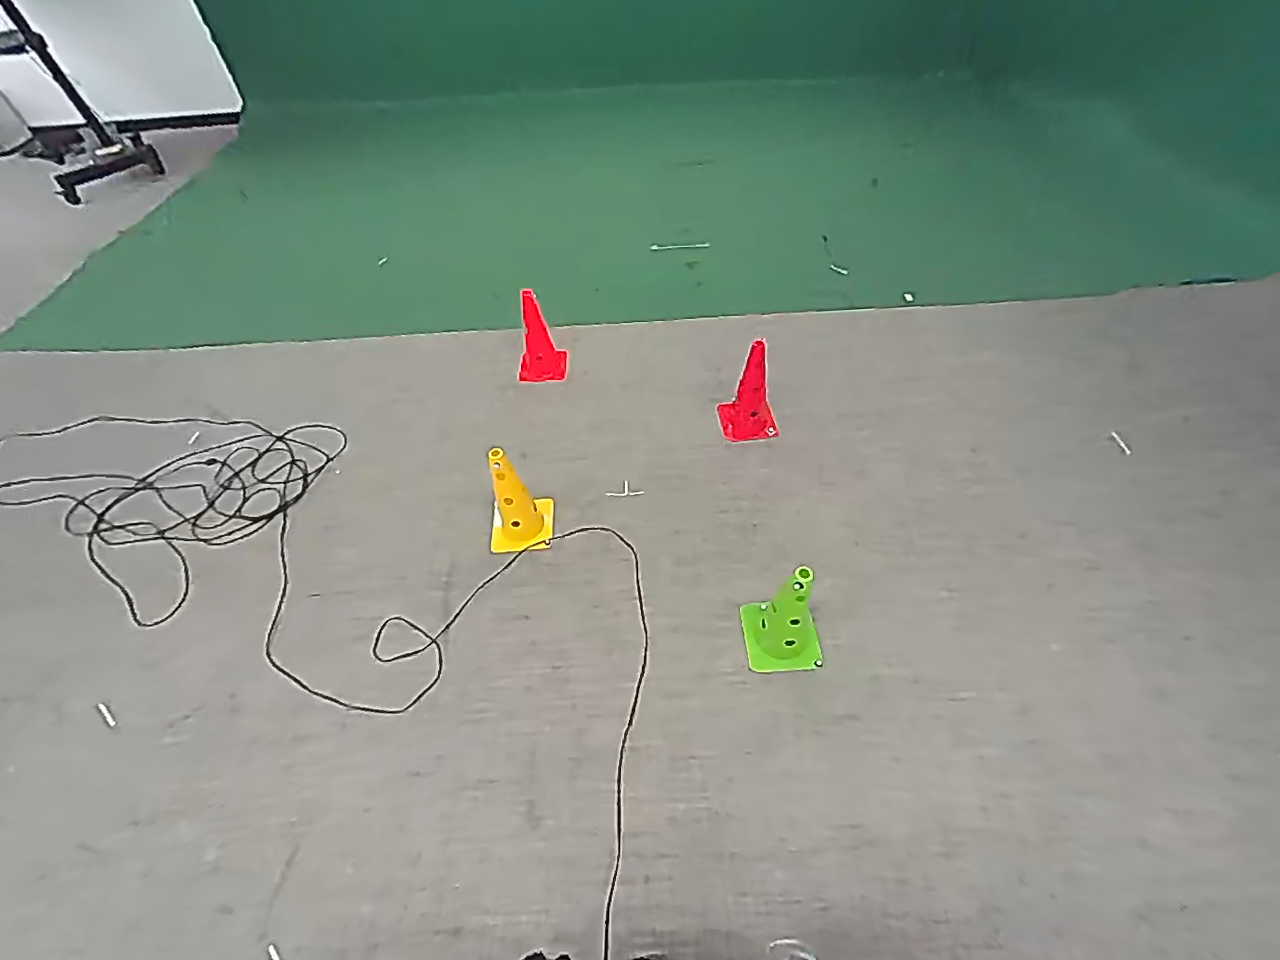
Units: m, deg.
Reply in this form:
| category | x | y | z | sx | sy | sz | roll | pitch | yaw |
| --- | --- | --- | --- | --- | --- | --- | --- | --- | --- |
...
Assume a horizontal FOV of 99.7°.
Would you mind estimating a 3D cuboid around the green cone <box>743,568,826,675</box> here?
| category | x | y | z | sx | sy | sz | roll | pitch | yaw |
| --- | --- | --- | --- | --- | --- | --- | --- | --- | --- |
| green cone | 0.387 | 0.328 | 1.378 | 0.202 | 0.368 | 0.200 | -5 | 50 | 1 |

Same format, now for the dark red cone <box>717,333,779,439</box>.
| category | x | y | z | sx | sy | sz | roll | pitch | yaw |
| --- | --- | --- | --- | --- | --- | --- | --- | --- | --- |
| dark red cone | 0.392 | -0.340 | 1.899 | 0.202 | 0.394 | 0.201 | -8 | 49 | -2 |

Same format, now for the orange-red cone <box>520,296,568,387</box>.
| category | x | y | z | sx | sy | sz | roll | pitch | yaw |
| --- | --- | --- | --- | --- | --- | --- | --- | --- | --- |
| orange-red cone | -0.423 | -0.573 | 2.181 | 0.198 | 0.360 | 0.199 | -4 | 51 | 2 |
